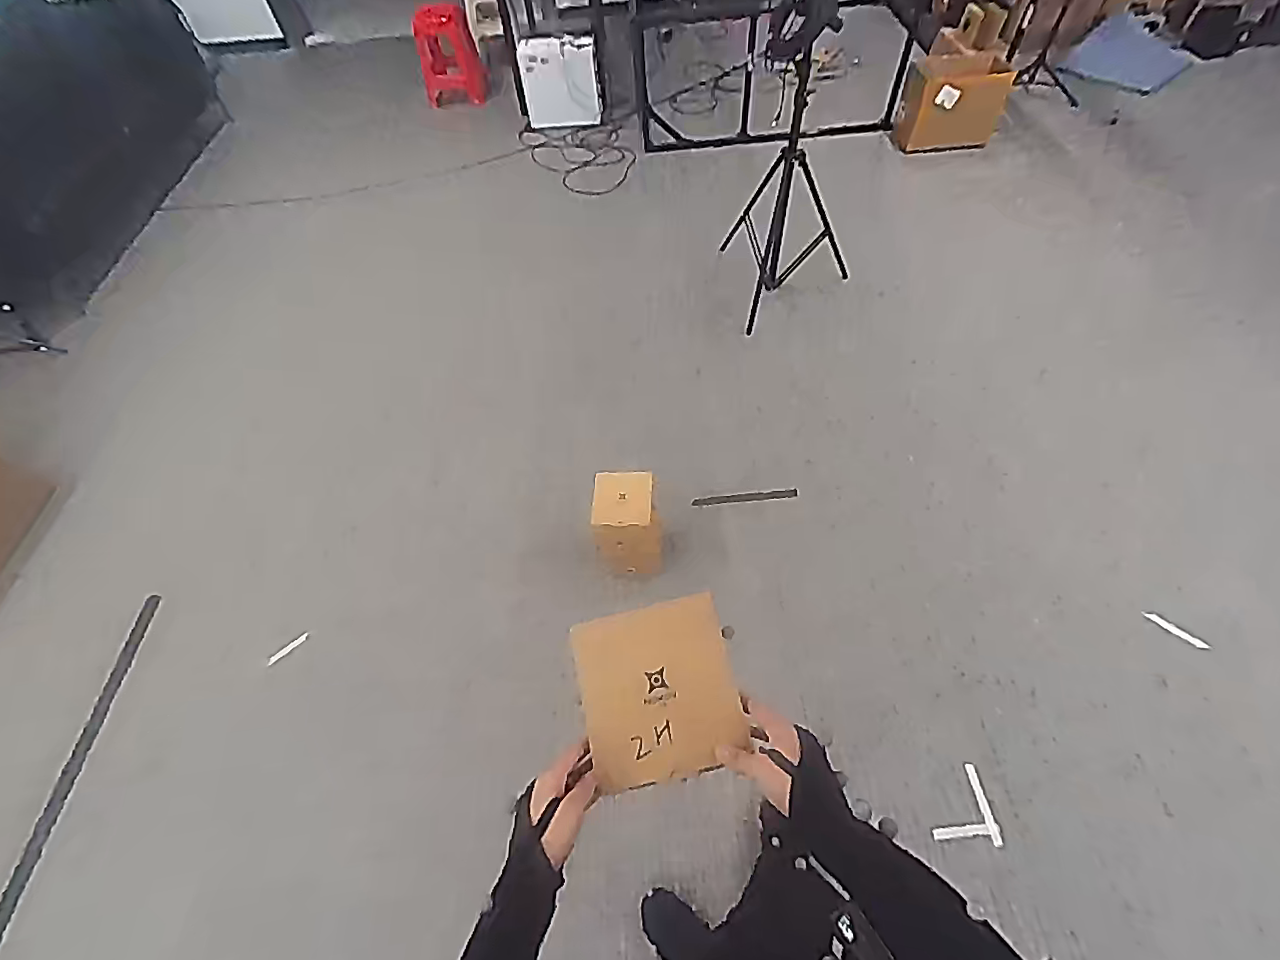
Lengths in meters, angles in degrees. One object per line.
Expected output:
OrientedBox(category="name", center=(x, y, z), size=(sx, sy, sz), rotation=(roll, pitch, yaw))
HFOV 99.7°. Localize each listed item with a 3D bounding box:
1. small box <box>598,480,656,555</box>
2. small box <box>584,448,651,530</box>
OrientedBox(category="small box", center=(-0.037, 0.117, 1.672), size=(0.168, 0.176, 0.179), rotation=(-3, 57, 4))
OrientedBox(category="small box", center=(-0.059, 0.026, 1.540), size=(0.168, 0.176, 0.179), rotation=(0, 58, 5))
